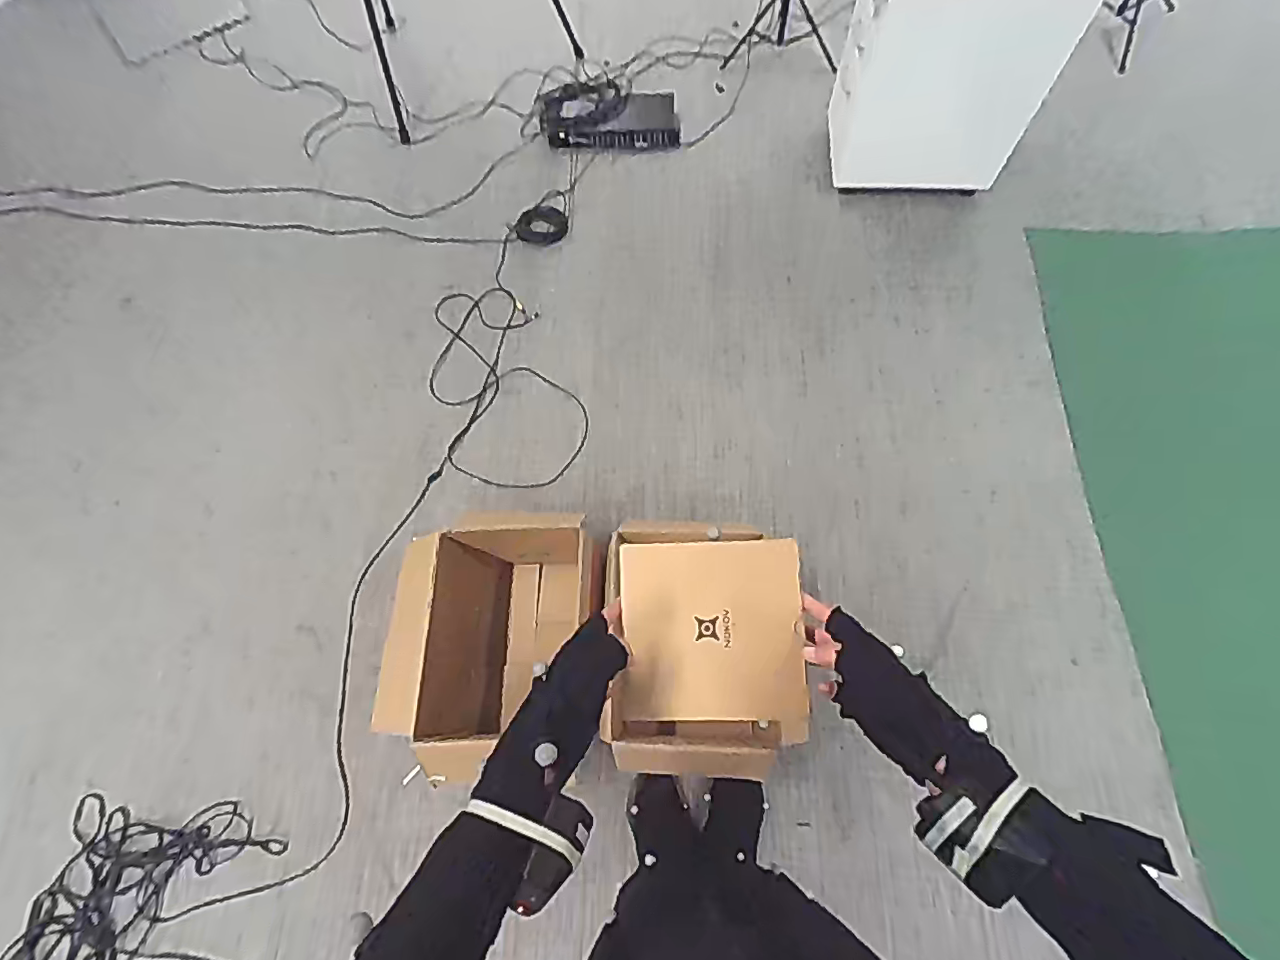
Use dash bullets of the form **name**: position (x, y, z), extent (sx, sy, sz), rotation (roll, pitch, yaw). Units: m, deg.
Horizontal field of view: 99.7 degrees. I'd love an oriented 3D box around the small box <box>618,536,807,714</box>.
- **small box**: position (0.073, 0.152, 0.597), extent (0.179, 0.176, 0.168), rotation (-3, 81, 3)
